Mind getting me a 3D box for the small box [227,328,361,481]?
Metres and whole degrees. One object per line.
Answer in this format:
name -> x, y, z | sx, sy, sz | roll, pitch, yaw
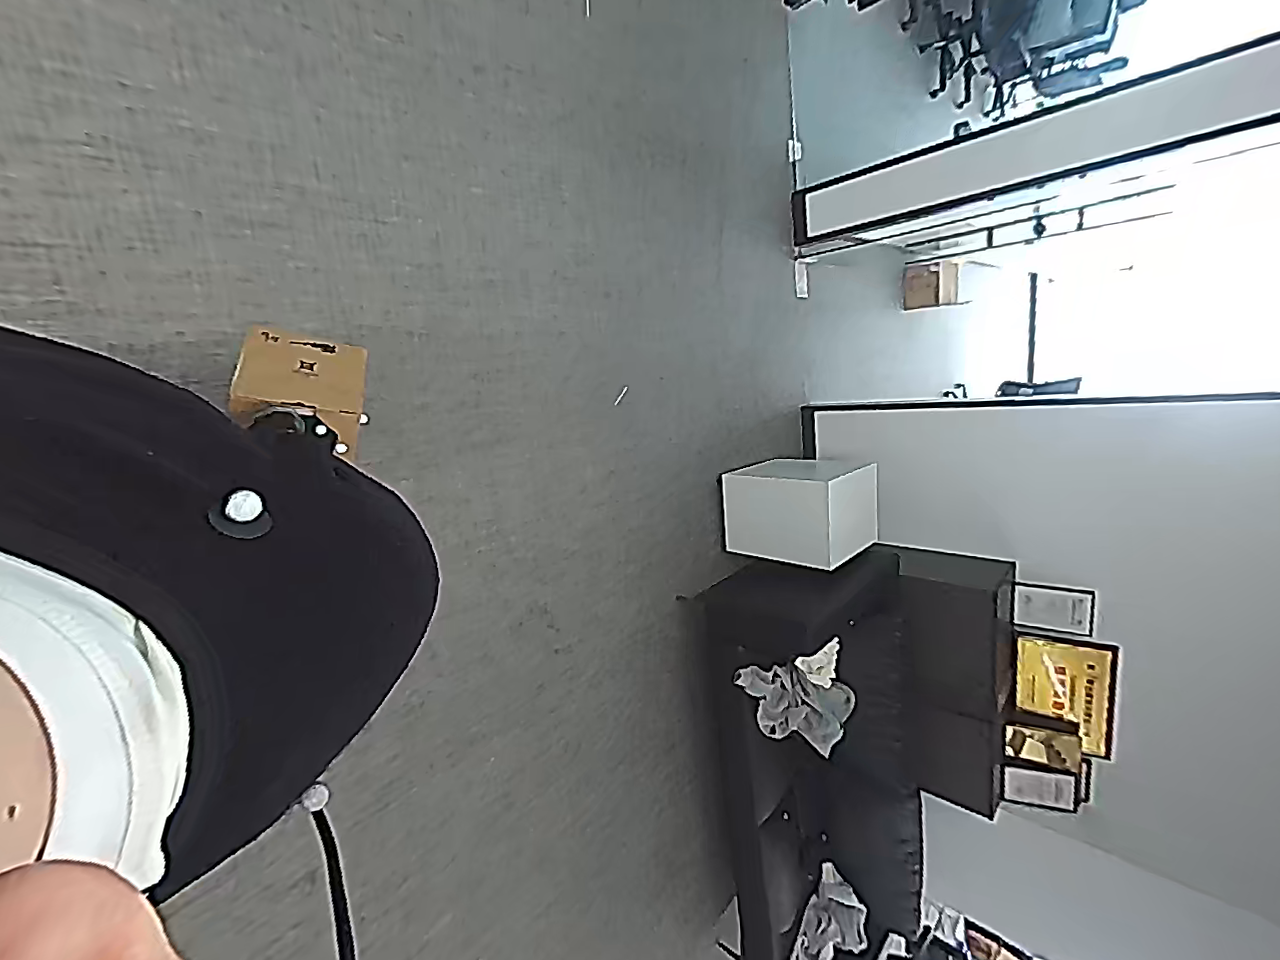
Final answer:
small box -> -0.553, -0.115, 0.880 | 0.168, 0.179, 0.176 | 4, 136, -31
